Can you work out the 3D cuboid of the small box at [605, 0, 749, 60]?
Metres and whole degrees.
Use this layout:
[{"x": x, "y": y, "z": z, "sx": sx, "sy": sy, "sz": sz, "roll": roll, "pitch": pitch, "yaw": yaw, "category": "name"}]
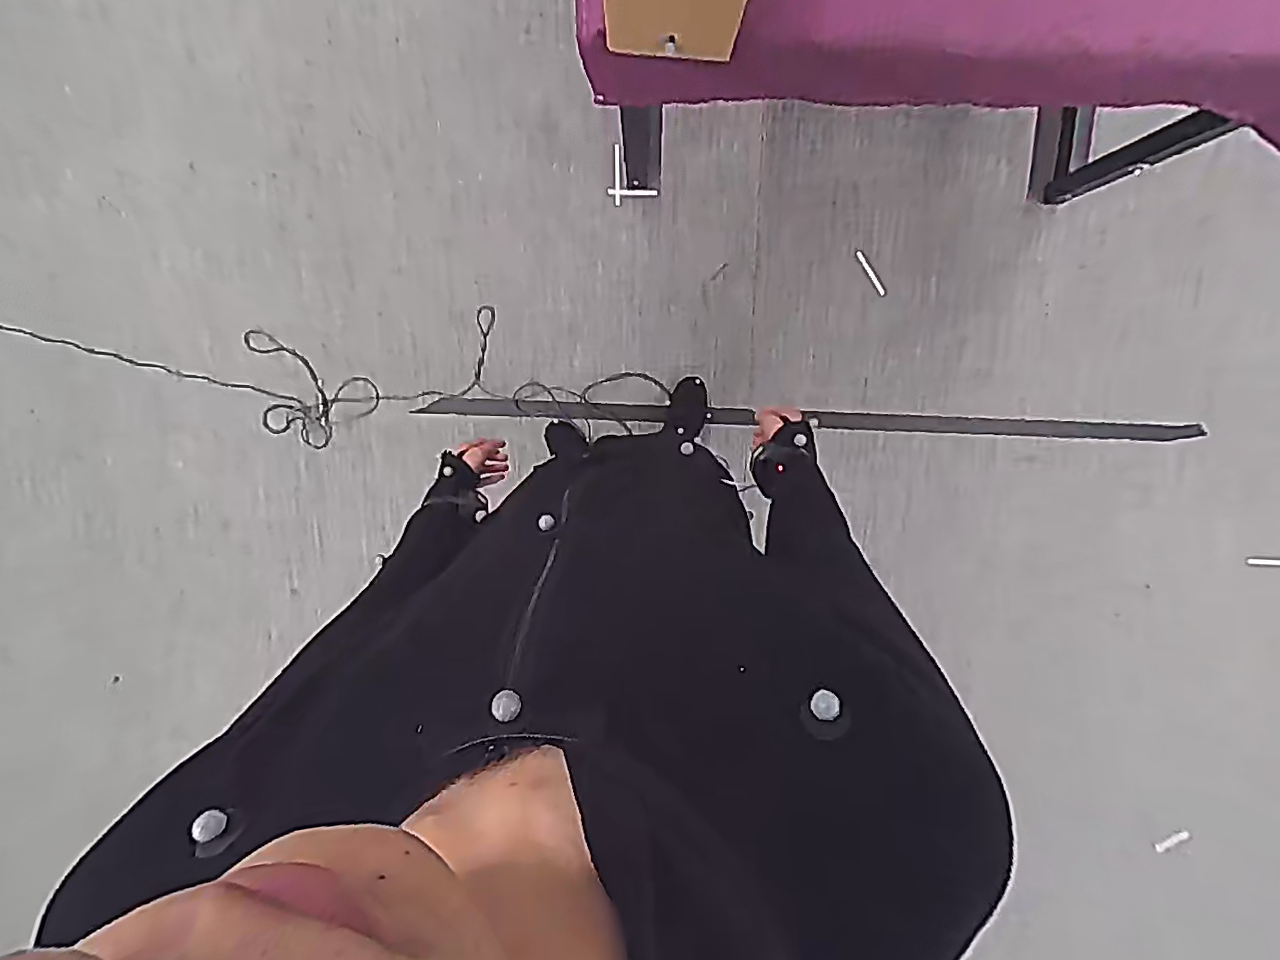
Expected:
[{"x": 0.049, "y": -0.664, "z": 0.674, "sx": 0.179, "sy": 0.176, "sz": 0.168, "roll": 4, "pitch": 101, "yaw": -2, "category": "small box"}]
